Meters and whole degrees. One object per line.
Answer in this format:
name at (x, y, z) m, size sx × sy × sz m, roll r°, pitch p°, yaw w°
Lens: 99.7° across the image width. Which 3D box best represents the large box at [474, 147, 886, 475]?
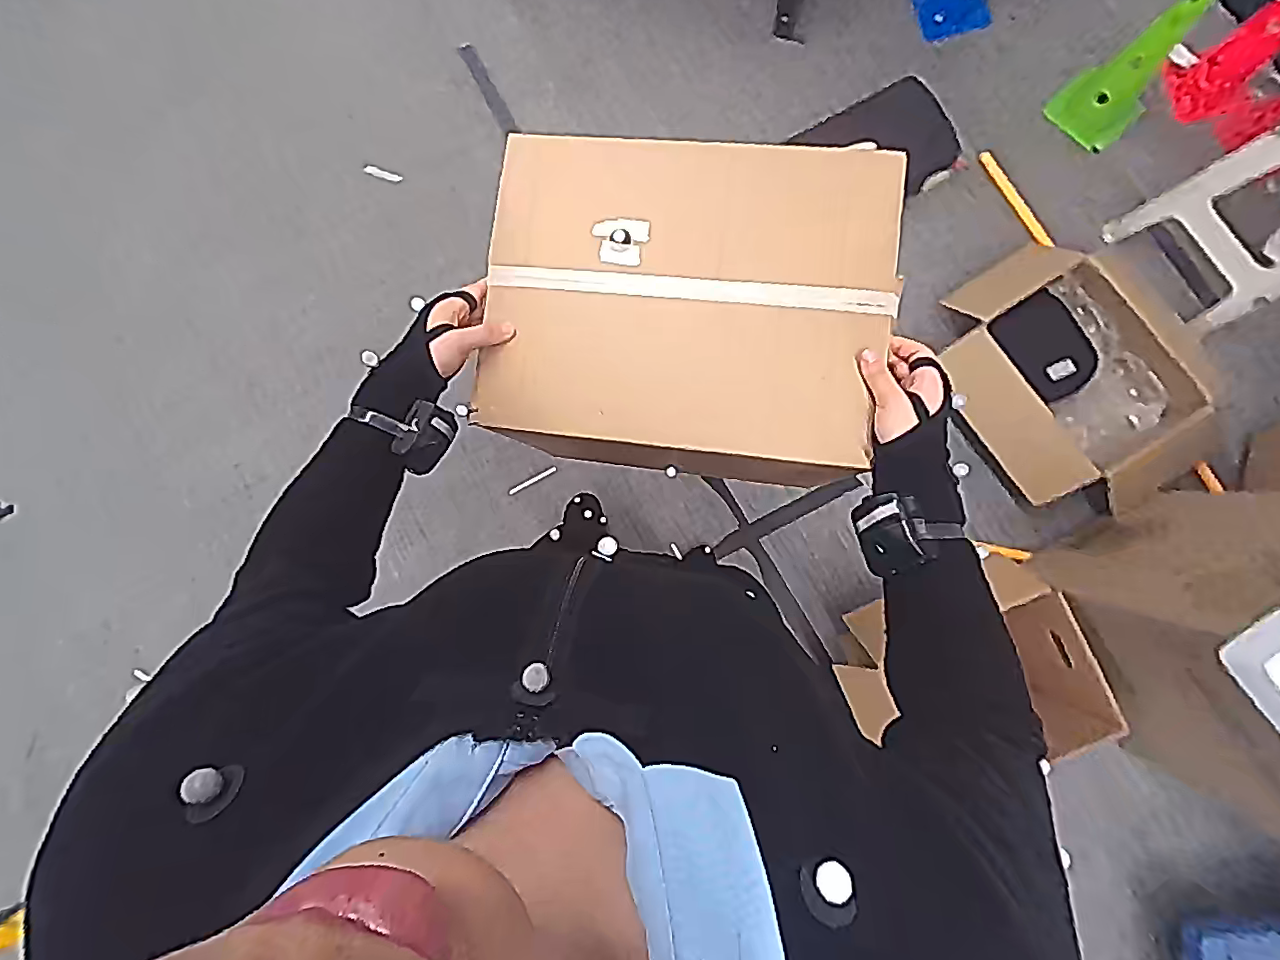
large box at (0.055, -0.182, 0.696) m, size 0.408 × 0.320 × 0.320 m, roll 6°, pitch 86°, yaw 8°
